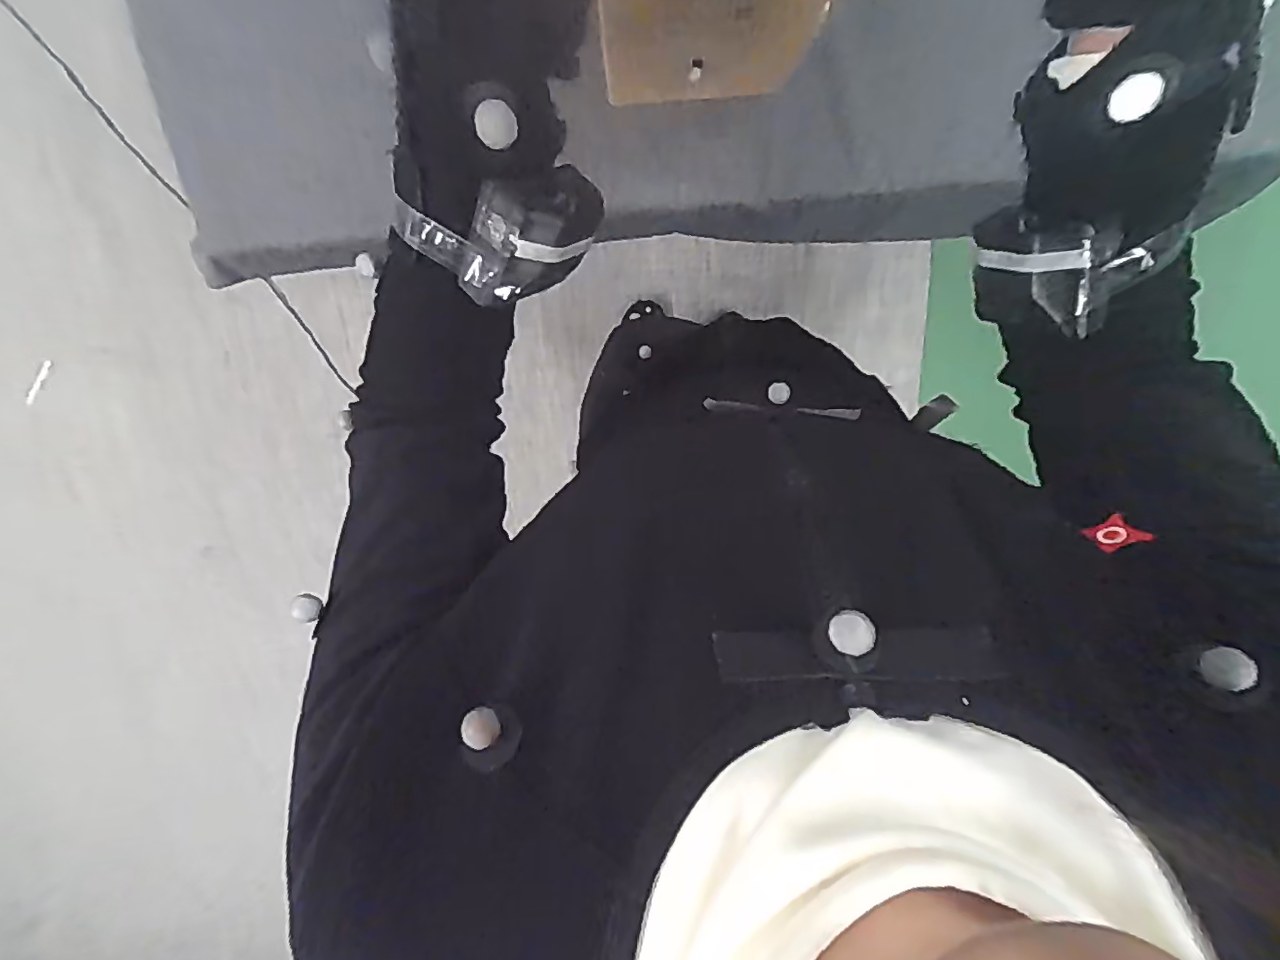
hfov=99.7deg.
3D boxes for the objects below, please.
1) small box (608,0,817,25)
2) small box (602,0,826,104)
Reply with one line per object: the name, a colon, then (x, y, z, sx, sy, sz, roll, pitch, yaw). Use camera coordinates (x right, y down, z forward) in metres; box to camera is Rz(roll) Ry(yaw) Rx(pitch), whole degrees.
small box: (0.049, -0.407, 0.317, 0.168, 0.176, 0.179, -5, 108, 2)
small box: (0.053, -0.456, 0.472, 0.179, 0.176, 0.168, -4, 107, 2)
